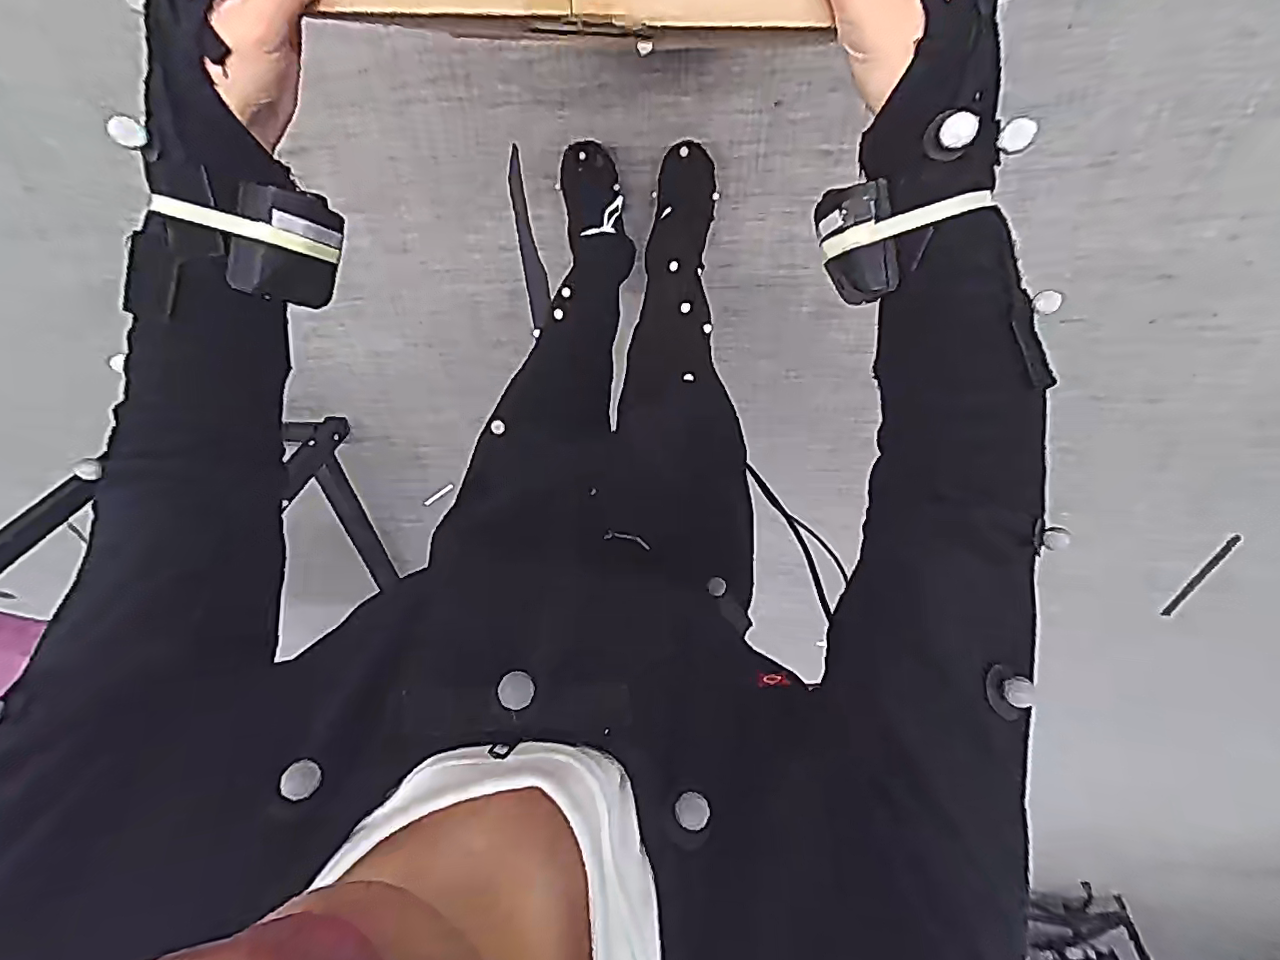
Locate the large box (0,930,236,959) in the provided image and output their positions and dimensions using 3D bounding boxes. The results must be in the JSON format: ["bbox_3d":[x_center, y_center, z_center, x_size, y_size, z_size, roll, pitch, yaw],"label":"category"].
[{"bbox_3d":[-1.157,1.149,1.097,0.408,0.320,0.320,3,135,5],"label":"large box"}]
